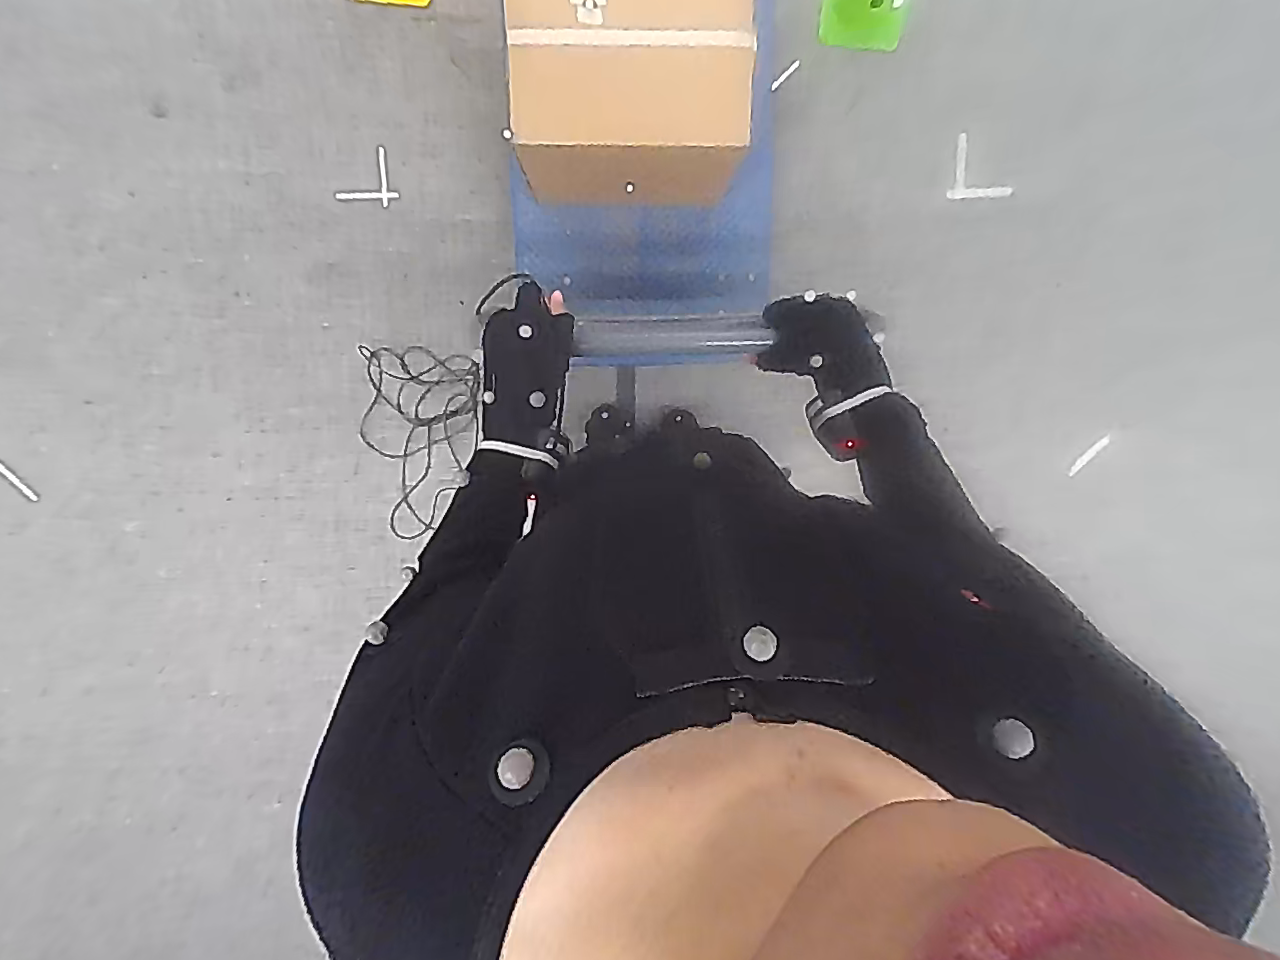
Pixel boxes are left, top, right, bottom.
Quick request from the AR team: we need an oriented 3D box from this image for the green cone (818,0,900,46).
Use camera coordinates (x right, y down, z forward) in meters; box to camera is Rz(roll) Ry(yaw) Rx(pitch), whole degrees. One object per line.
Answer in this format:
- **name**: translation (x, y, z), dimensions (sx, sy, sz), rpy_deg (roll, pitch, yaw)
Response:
- **green cone**: translation (0.547, -1.145, 1.143), dimensions (0.202, 0.368, 0.200), rpy_deg (3, 99, -4)

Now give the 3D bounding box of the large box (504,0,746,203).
- **large box**: translation (-0.025, -0.742, 1.037), dimensions (0.408, 0.320, 0.320), rpy_deg (-1, 99, -2)
